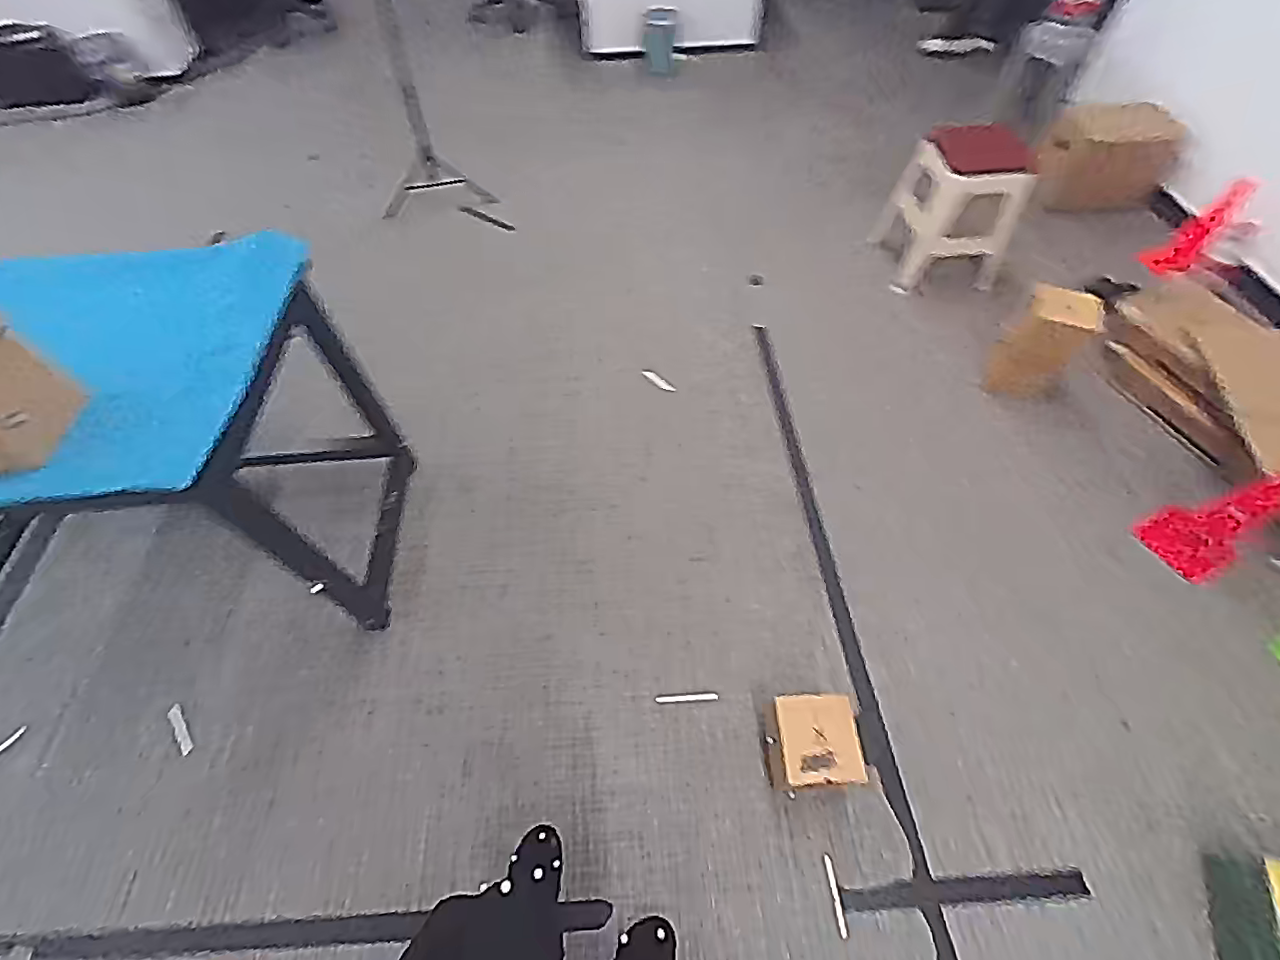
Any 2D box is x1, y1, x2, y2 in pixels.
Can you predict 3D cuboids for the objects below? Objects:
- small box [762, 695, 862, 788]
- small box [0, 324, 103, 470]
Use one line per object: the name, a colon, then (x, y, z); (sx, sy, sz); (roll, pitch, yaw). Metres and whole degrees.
small box: (0.384, 0.601, 1.235); (0.168, 0.176, 0.179); (-1, 56, 0)
small box: (-1.056, -0.133, 0.871); (0.168, 0.176, 0.179); (-4, 56, -2)
